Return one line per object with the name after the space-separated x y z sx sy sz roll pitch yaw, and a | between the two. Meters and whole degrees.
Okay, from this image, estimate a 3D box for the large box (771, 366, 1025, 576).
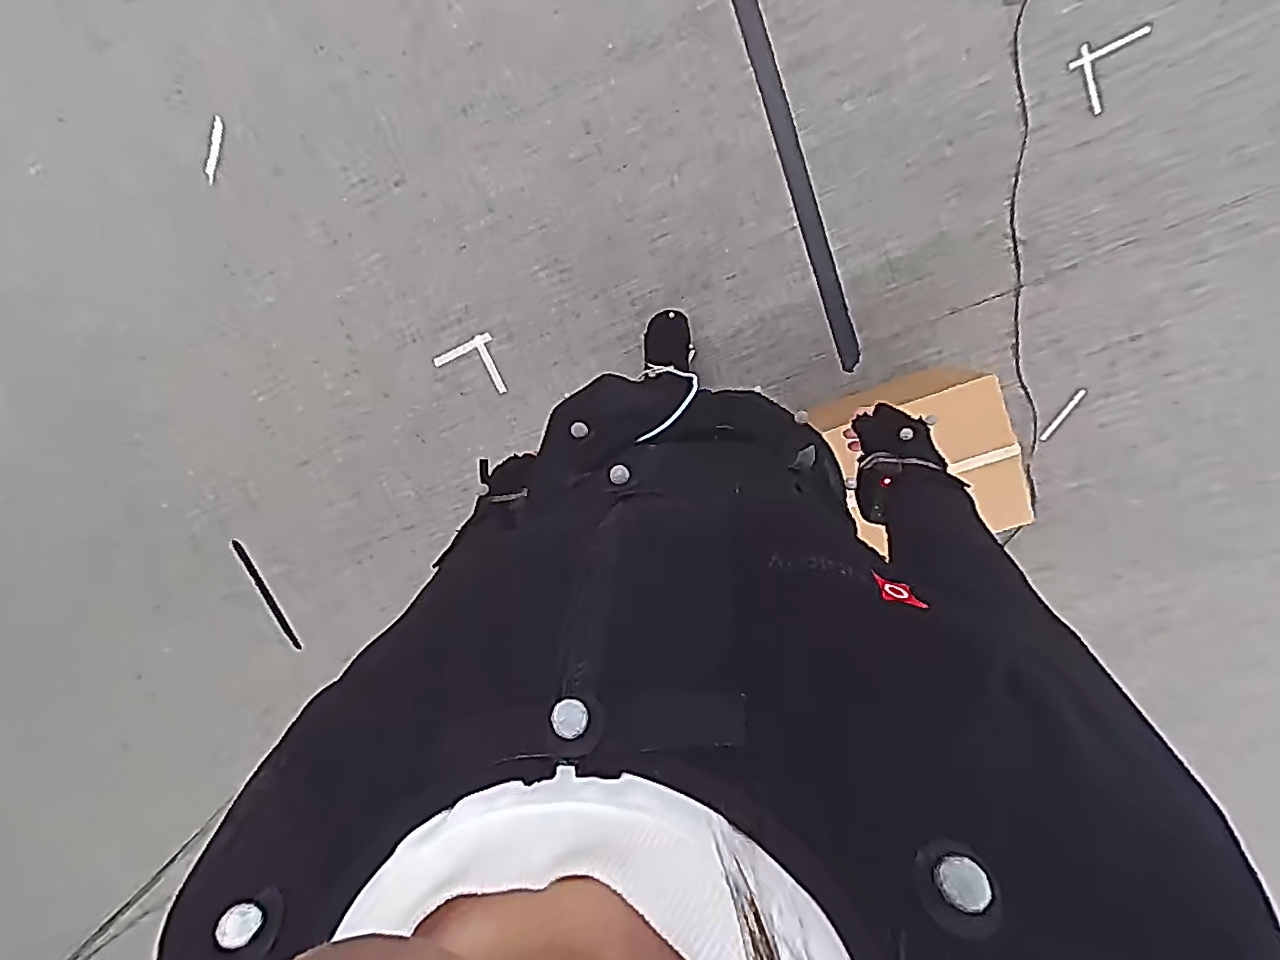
0.546 -0.036 1.221 0.408 0.320 0.320 -19 100 13 | large box
